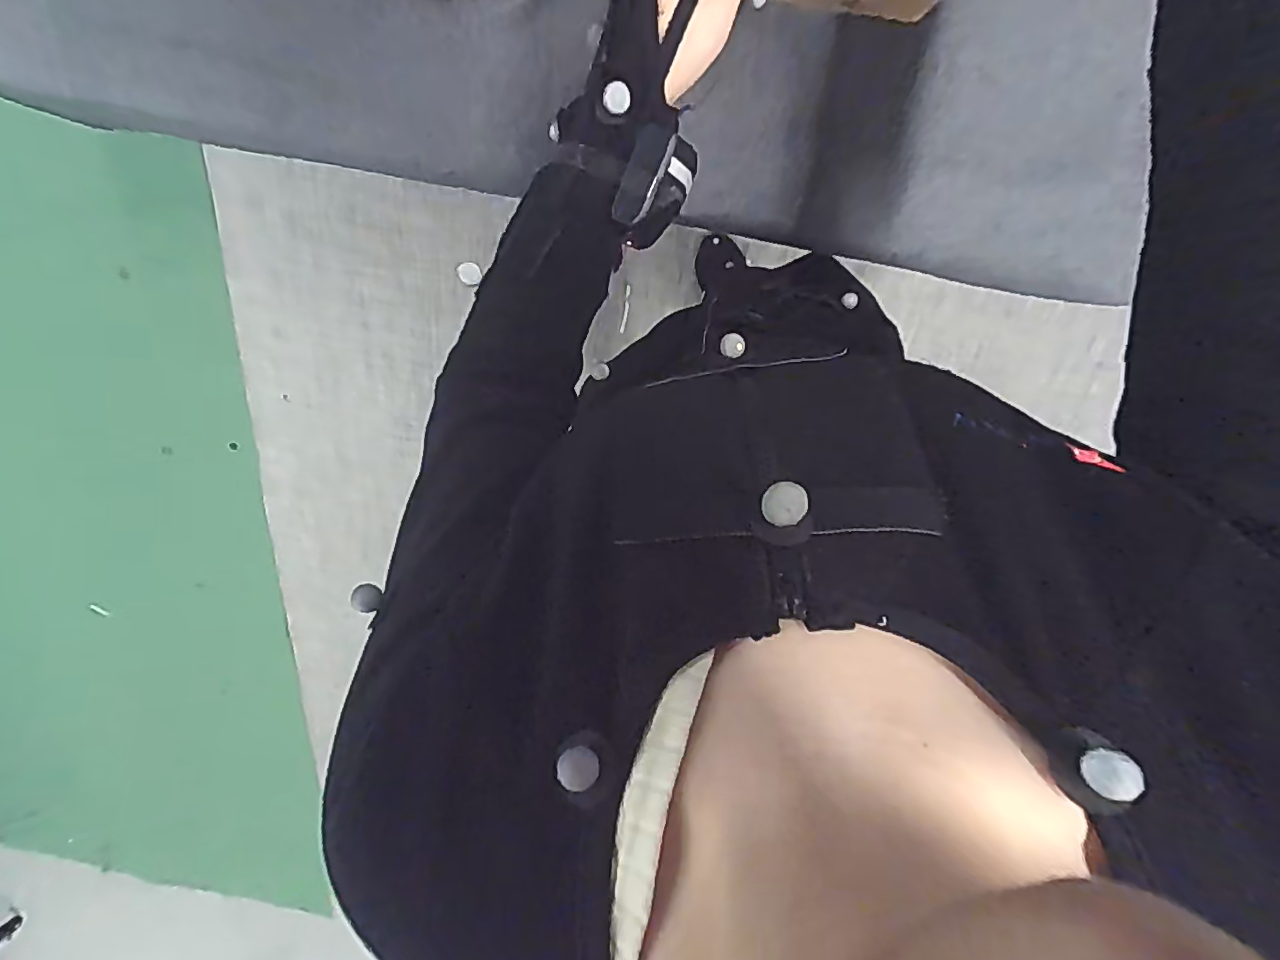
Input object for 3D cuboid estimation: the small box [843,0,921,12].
[{"bbox_3d":[0.150,-0.434,0.335,0.168,0.176,0.179,10,114,1],"label":"small box"}]
